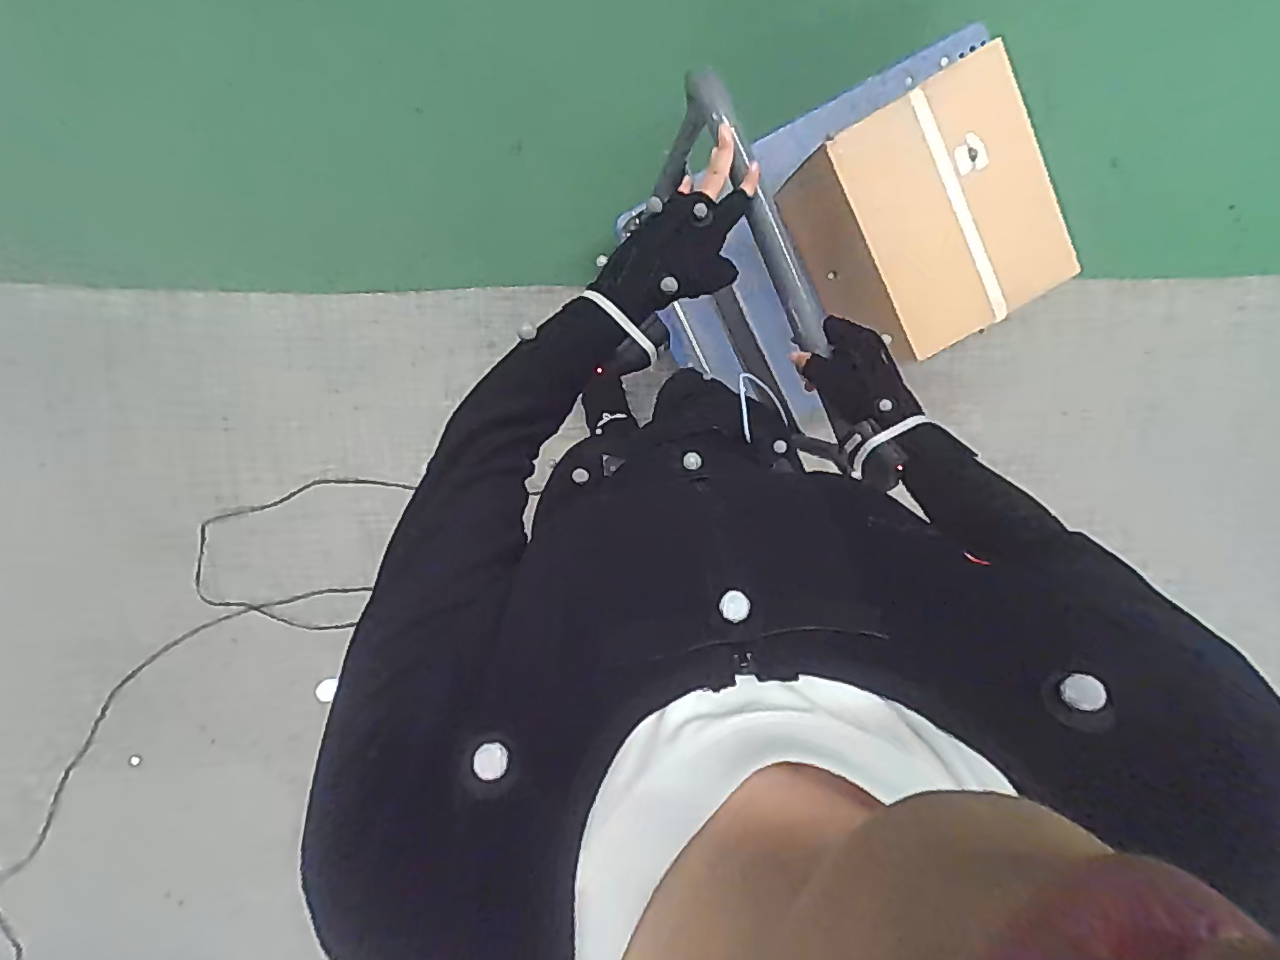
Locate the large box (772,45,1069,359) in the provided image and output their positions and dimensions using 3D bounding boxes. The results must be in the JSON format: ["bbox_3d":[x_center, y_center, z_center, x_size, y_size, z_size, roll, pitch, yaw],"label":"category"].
[{"bbox_3d":[0.515,-0.490,1.061,0.320,0.320,0.408,-30,101,3],"label":"large box"}]
